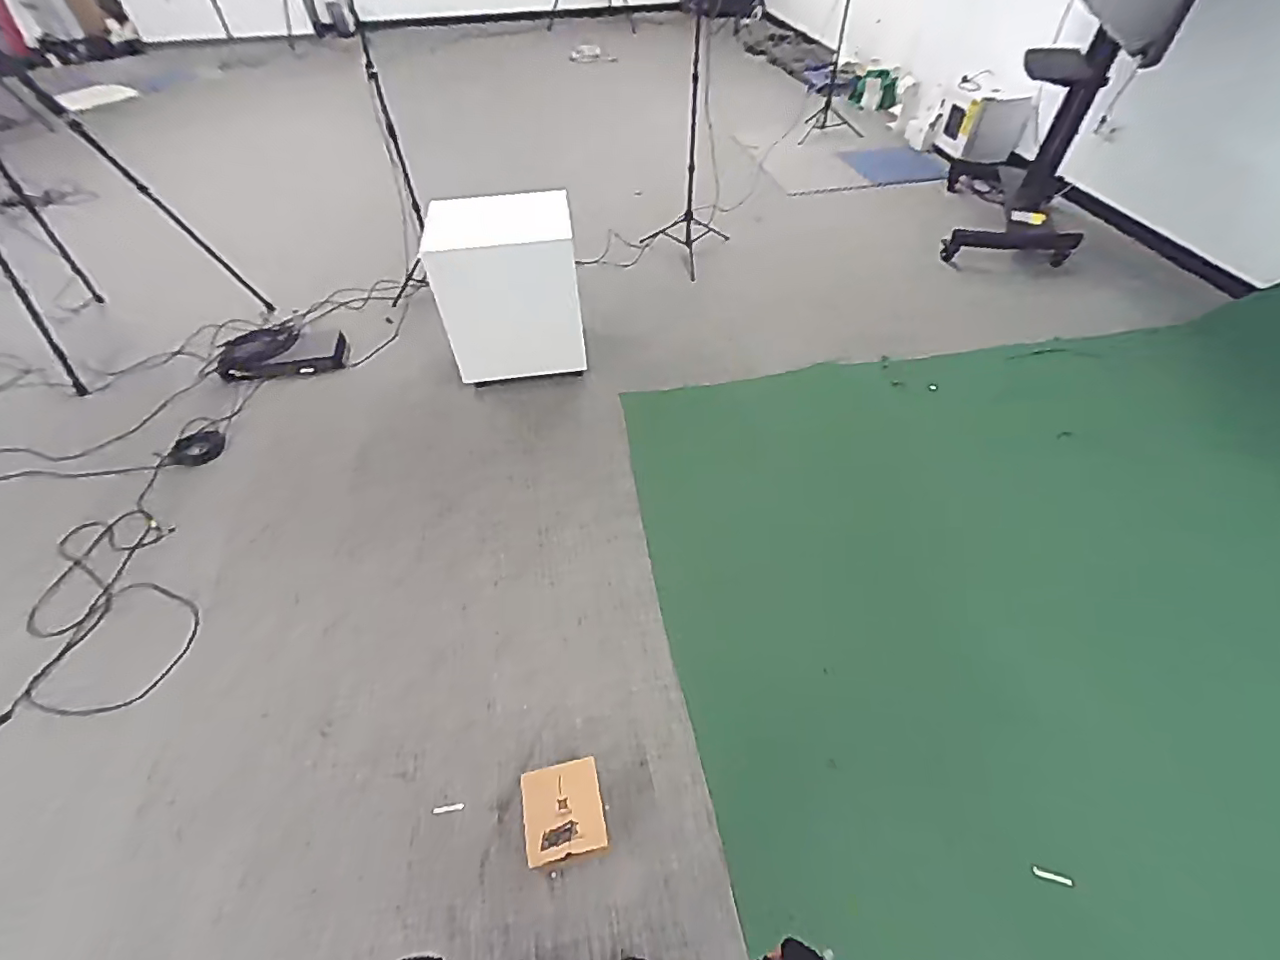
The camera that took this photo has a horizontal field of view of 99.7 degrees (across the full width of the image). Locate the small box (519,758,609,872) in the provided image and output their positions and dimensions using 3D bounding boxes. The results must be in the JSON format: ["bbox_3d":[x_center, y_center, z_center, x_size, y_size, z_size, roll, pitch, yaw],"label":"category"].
[{"bbox_3d":[-0.166,0.746,1.196,0.168,0.176,0.179,-10,50,-8],"label":"small box"}]
